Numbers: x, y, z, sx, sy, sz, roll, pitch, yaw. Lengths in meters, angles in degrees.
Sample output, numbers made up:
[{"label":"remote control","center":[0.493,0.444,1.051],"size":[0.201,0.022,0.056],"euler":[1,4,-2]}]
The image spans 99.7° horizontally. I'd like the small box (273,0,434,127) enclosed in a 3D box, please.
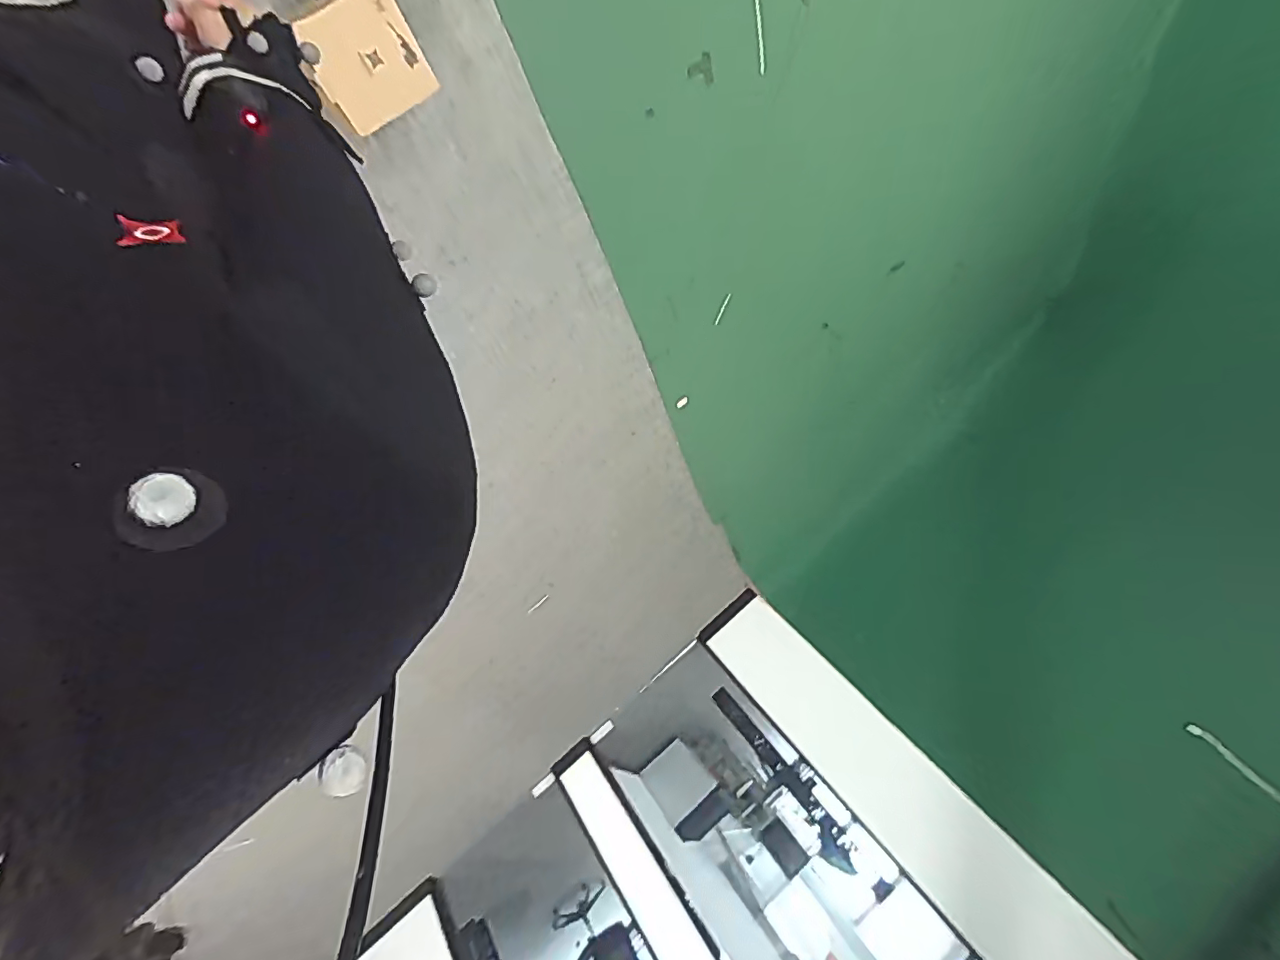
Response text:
[{"label":"small box","center":[-0.496,-0.748,0.931],"size":[0.179,0.176,0.168],"euler":[-38,143,-8]}]
